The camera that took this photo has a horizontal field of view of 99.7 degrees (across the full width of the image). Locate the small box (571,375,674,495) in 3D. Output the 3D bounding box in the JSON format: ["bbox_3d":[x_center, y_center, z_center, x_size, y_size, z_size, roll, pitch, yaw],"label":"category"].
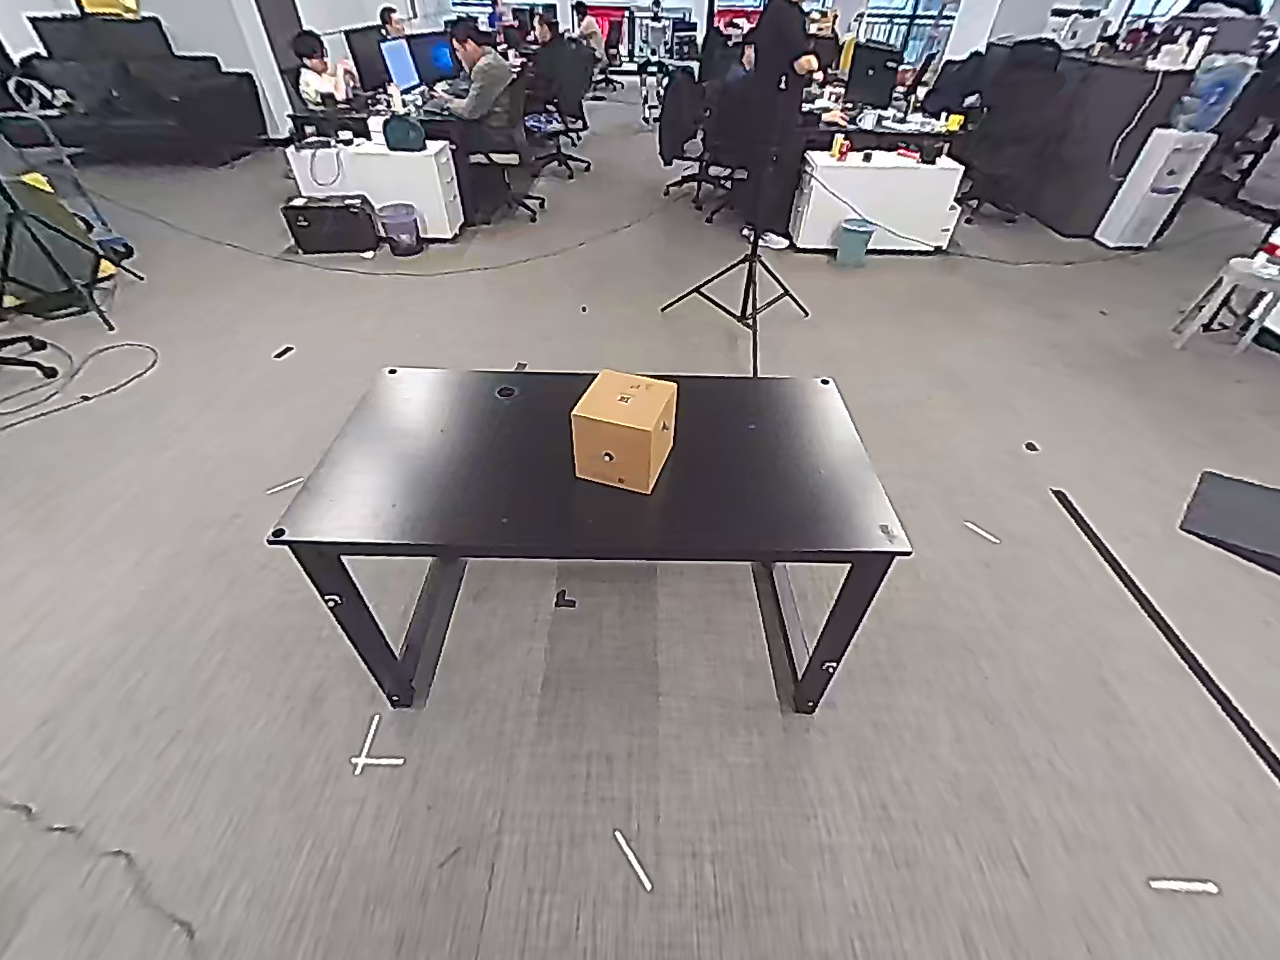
[{"bbox_3d":[-0.031,-0.094,1.144,0.168,0.176,0.179,14,43,13],"label":"small box"}]
